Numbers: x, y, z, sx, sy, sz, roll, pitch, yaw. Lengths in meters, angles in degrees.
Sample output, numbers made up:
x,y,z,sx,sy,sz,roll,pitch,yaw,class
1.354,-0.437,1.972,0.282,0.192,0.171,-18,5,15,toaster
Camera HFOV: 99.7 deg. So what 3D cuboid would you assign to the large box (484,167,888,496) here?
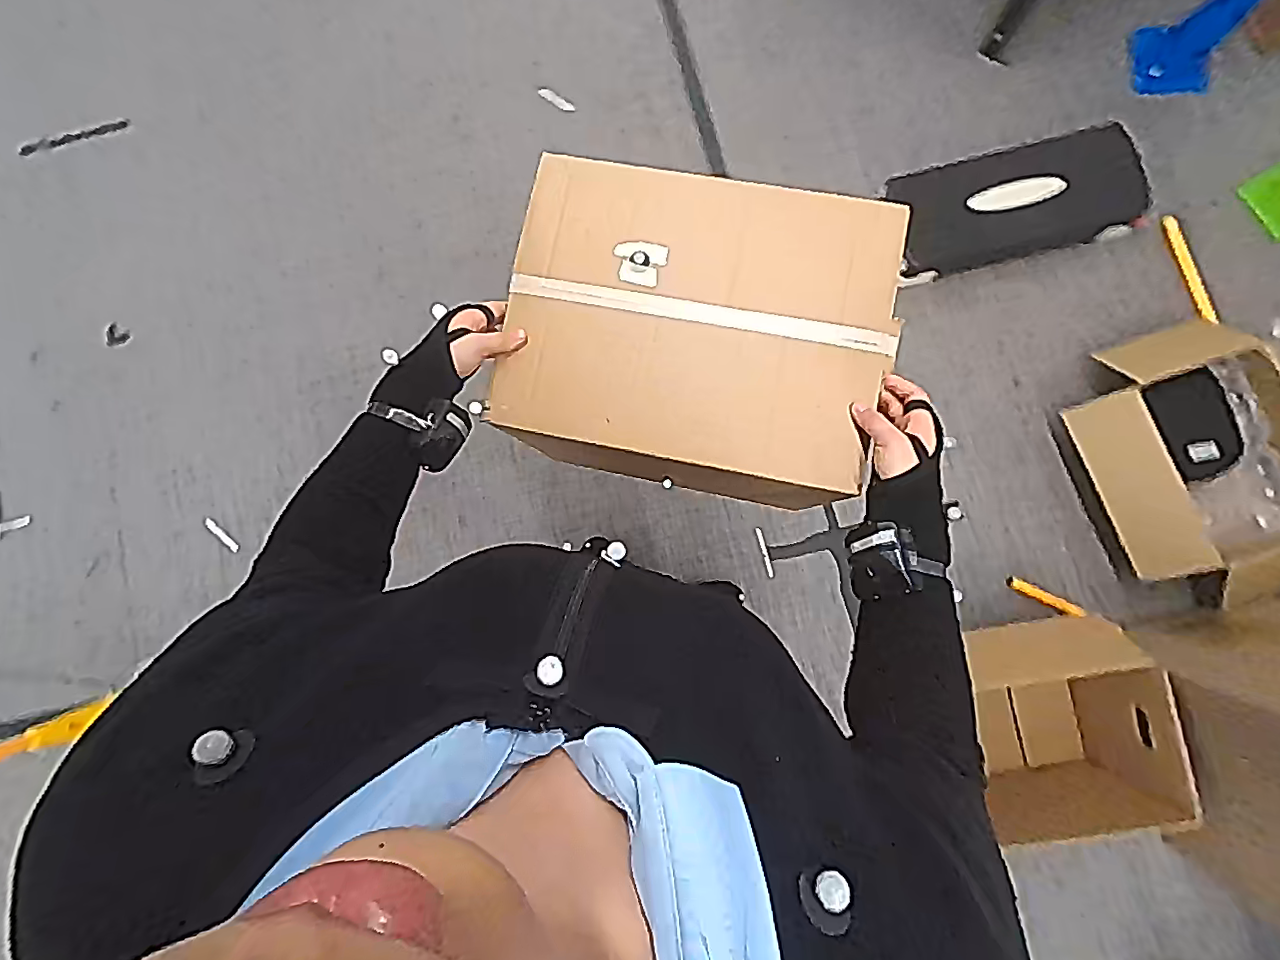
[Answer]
x,y,z,sx,sy,sz,roll,pitch,yaw,class
0.063,-0.165,0.732,0.408,0.320,0.320,10,84,7,large box
